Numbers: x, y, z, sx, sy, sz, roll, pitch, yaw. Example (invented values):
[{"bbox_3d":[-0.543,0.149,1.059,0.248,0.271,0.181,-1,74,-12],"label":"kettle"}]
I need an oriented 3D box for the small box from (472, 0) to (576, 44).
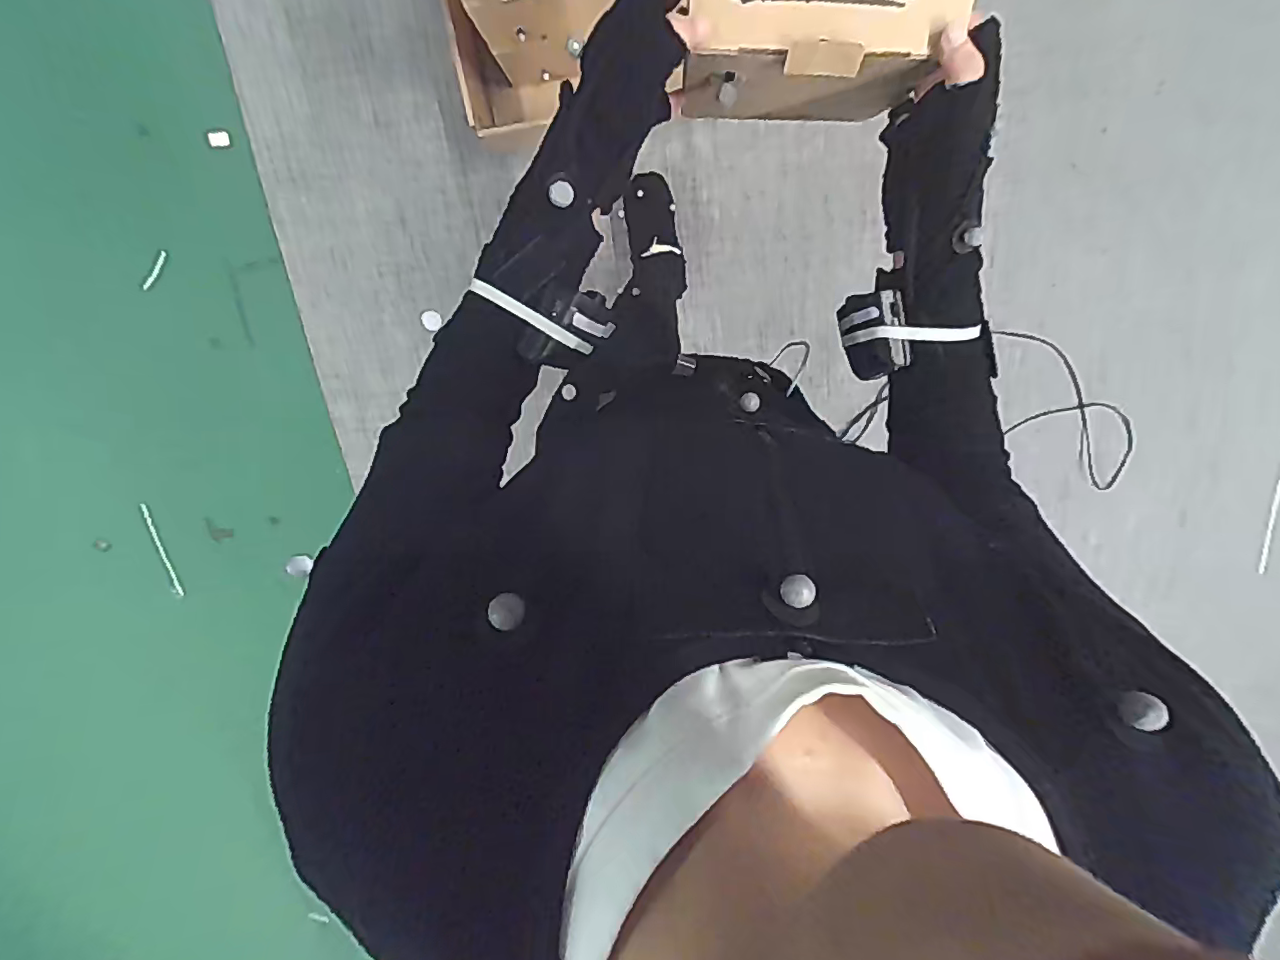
[{"bbox_3d":[-0.210,-0.883,0.905,0.168,0.176,0.179,-8,107,4],"label":"small box"}]

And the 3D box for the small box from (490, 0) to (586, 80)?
[{"bbox_3d":[-0.206,-0.929,1.061,0.168,0.176,0.179,-6,107,4],"label":"small box"}]
